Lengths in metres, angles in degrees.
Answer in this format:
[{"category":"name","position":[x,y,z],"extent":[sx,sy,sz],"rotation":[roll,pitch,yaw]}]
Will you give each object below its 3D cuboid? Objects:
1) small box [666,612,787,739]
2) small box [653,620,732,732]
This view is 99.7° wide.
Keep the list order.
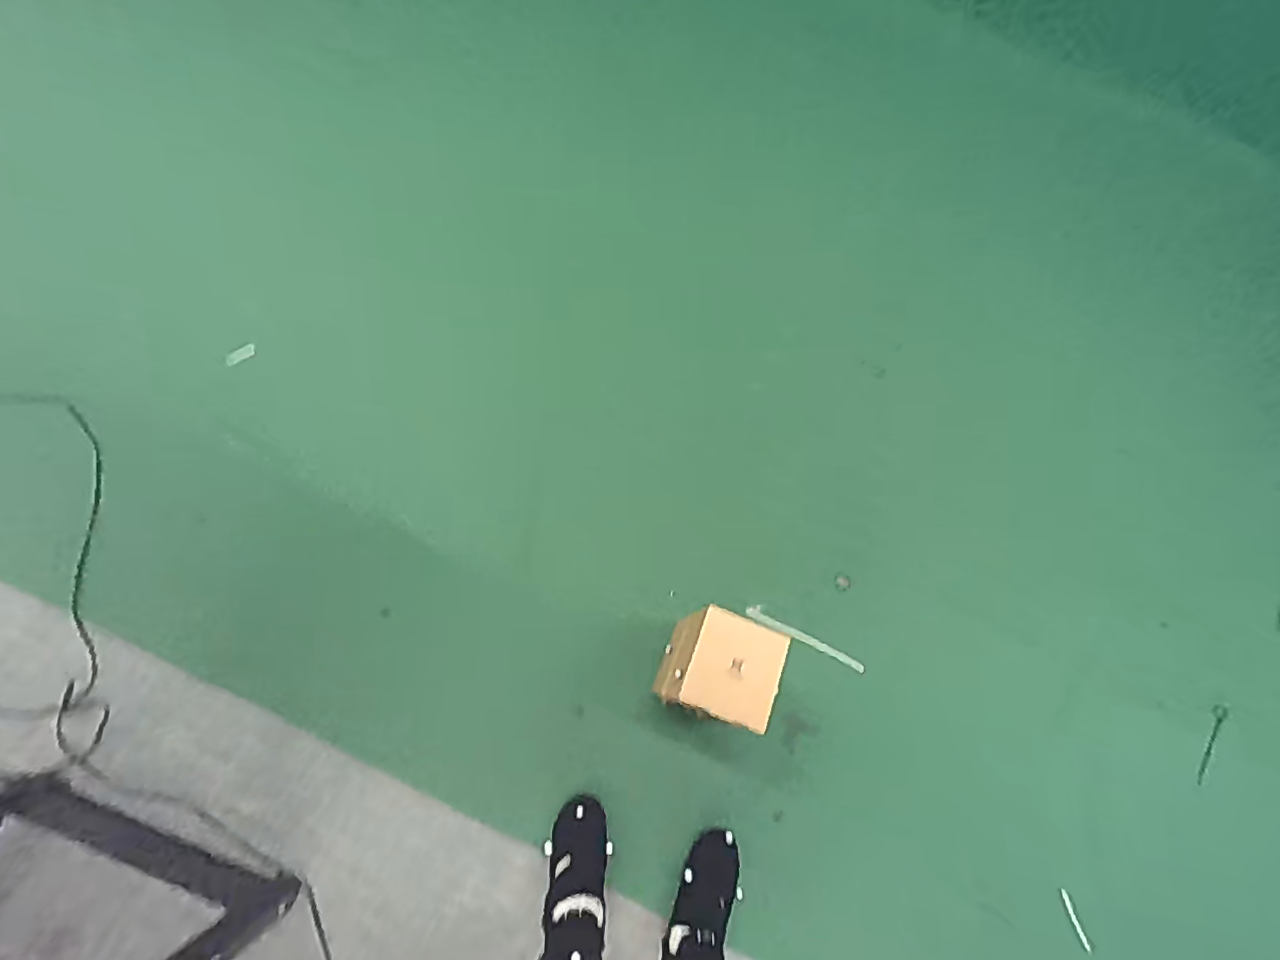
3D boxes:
[{"category":"small box","position":[0.160,0.375,1.050],"extent":[0.168,0.176,0.179],"rotation":[22,71,1]},{"category":"small box","position":[0.136,0.433,1.200],"extent":[0.168,0.176,0.179],"rotation":[23,69,2]}]
